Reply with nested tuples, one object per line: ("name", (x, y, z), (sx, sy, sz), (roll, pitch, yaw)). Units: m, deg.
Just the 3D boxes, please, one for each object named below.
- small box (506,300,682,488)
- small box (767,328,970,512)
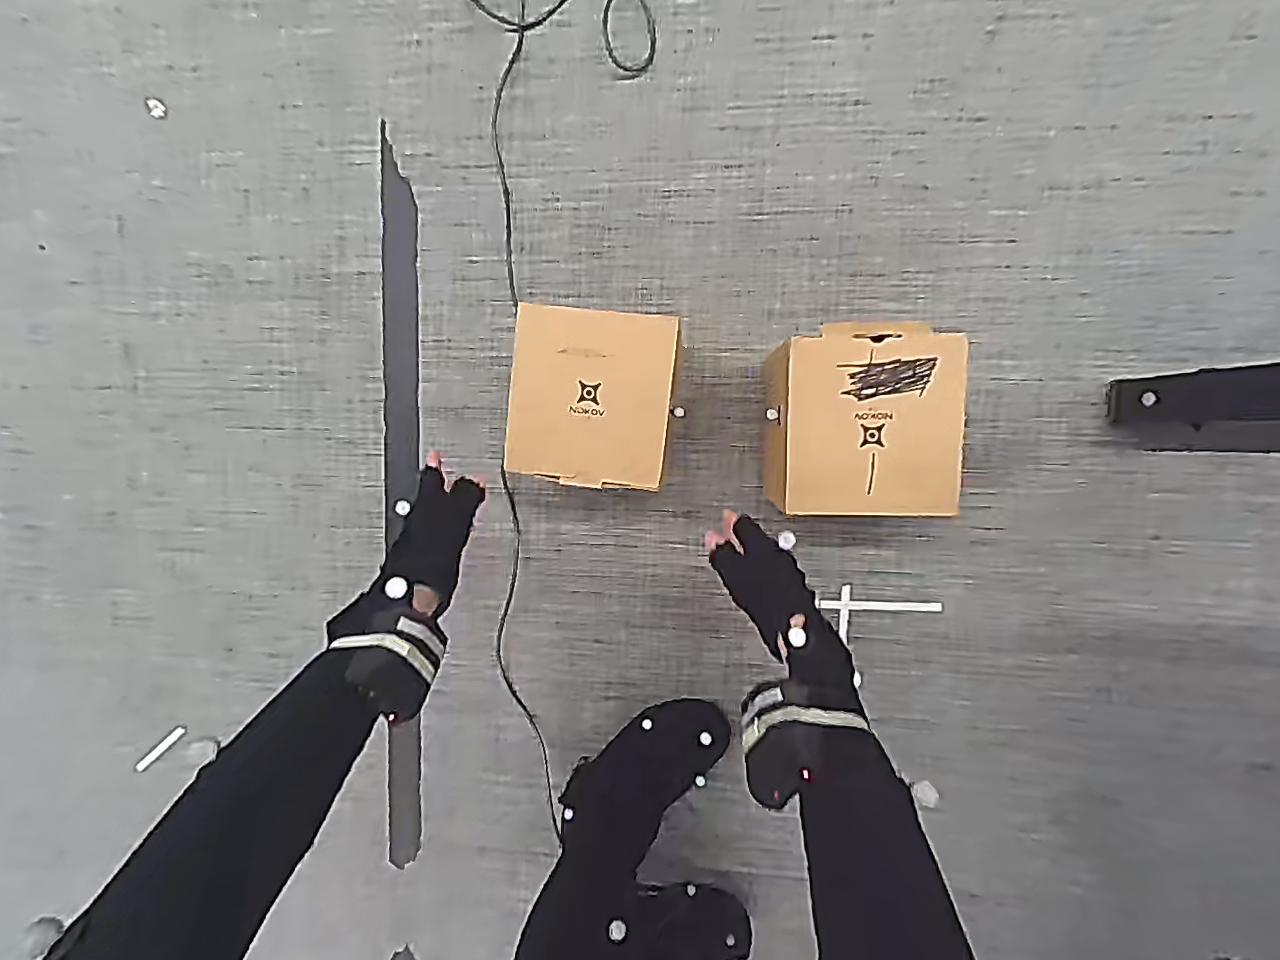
("small box", (-0.042, -0.092, 0.624), (0.168, 0.176, 0.179), (6, 94, 4))
("small box", (0.234, -0.063, 0.597), (0.168, 0.176, 0.179), (0, 96, 6))
